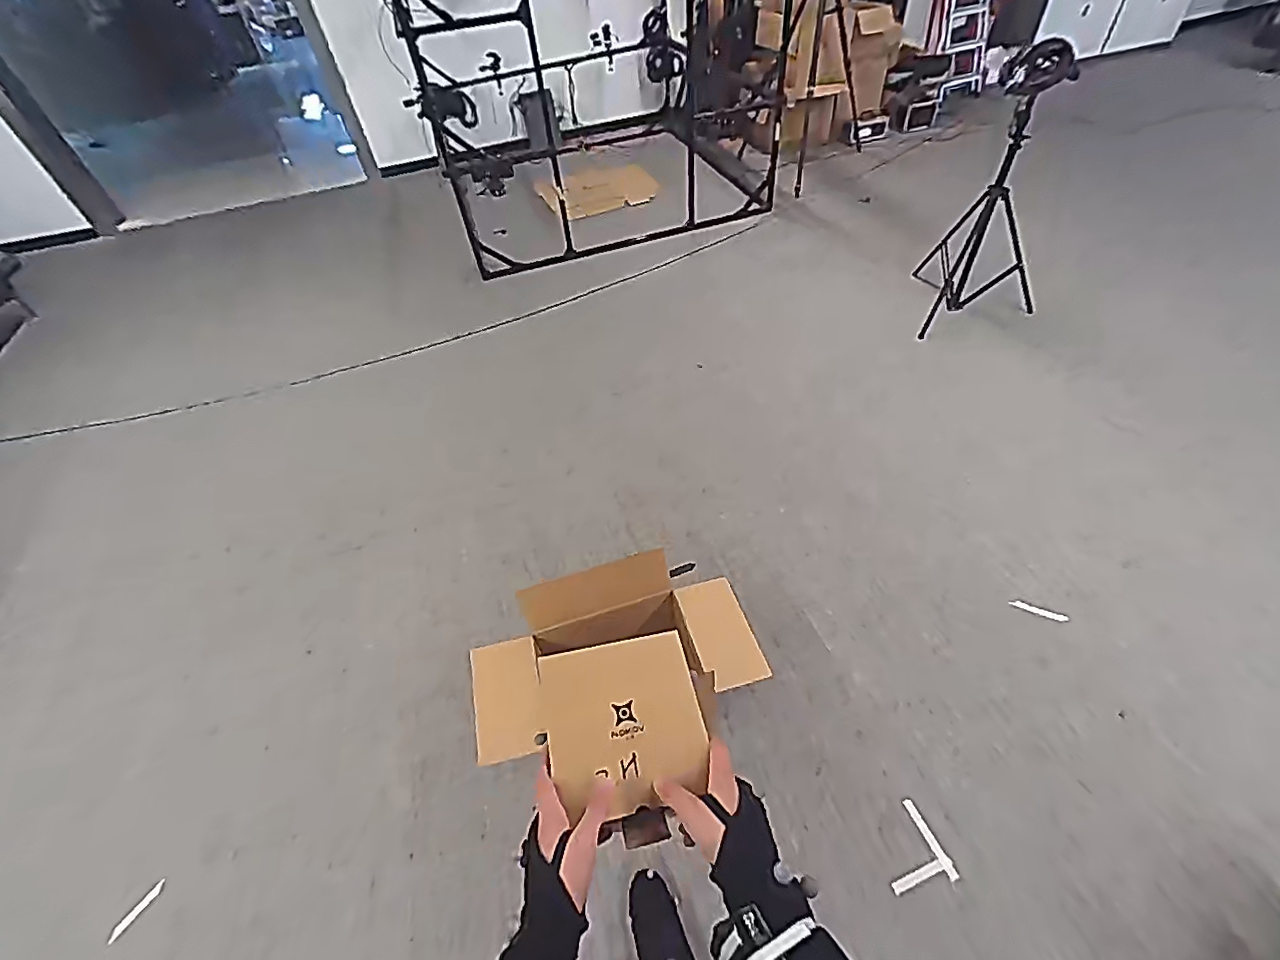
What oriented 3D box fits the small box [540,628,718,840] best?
[{"bbox_3d":[-0.024,0.299,0.636,0.168,0.176,0.179,-8,55,-10],"label":"small box"}]
